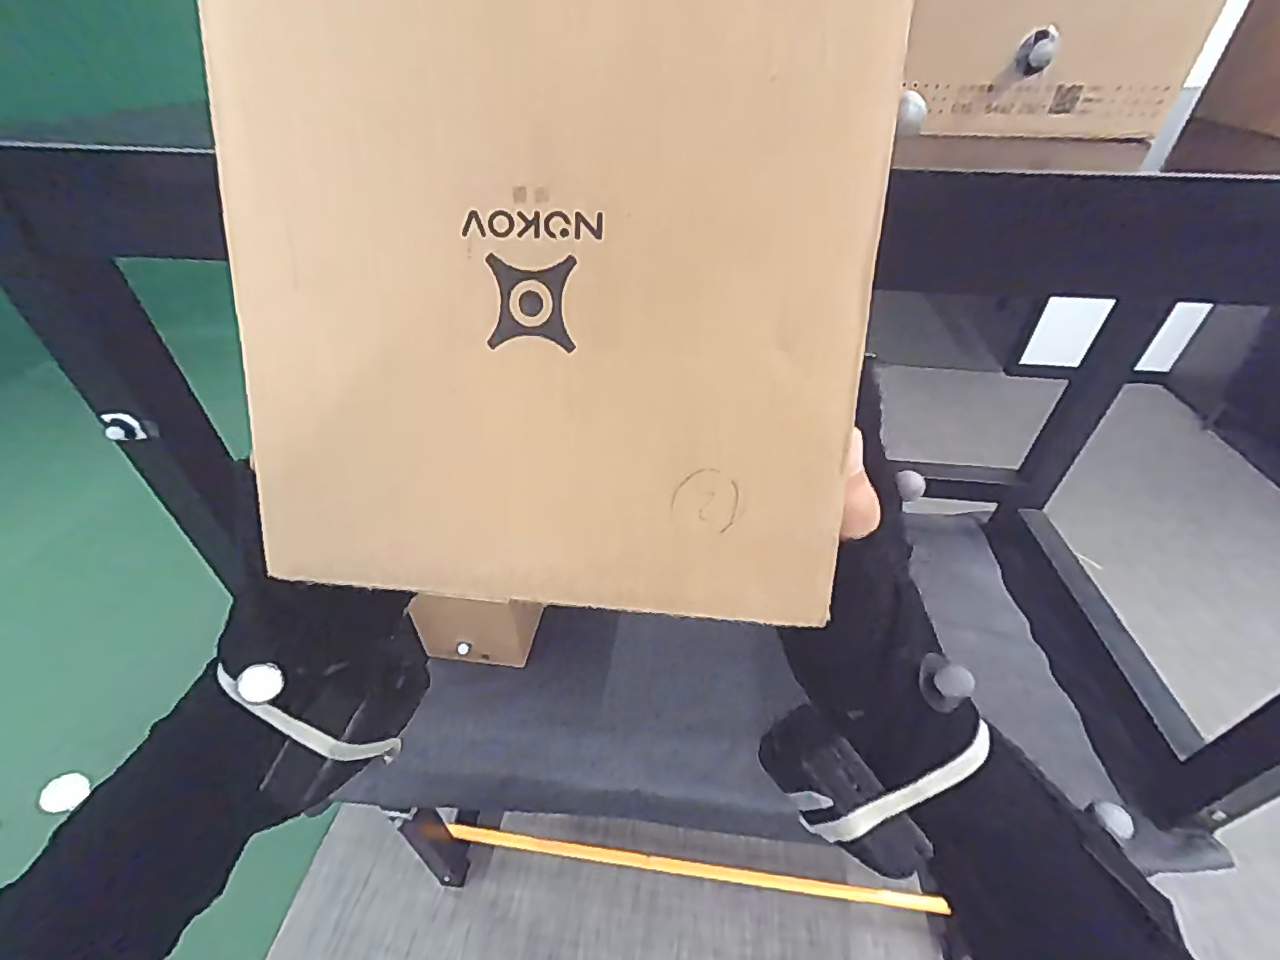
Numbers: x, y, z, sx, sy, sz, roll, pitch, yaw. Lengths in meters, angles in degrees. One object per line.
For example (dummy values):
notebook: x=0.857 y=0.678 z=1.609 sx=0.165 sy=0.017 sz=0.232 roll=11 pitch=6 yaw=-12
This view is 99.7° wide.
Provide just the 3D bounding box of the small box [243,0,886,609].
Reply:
small box: x=-0.016 y=-0.069 z=0.227 sx=0.168 sy=0.179 sz=0.176 roll=4 pitch=13 yaw=6

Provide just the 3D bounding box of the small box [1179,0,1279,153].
small box: x=0.489 y=-0.289 z=0.316 sx=0.168 sy=0.176 sz=0.179 roll=12 pitch=40 yaw=14

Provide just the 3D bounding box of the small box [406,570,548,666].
small box: x=-0.255 y=0.178 z=0.897 sx=0.168 sy=0.176 sz=0.179 roll=5 pitch=39 yaw=5
